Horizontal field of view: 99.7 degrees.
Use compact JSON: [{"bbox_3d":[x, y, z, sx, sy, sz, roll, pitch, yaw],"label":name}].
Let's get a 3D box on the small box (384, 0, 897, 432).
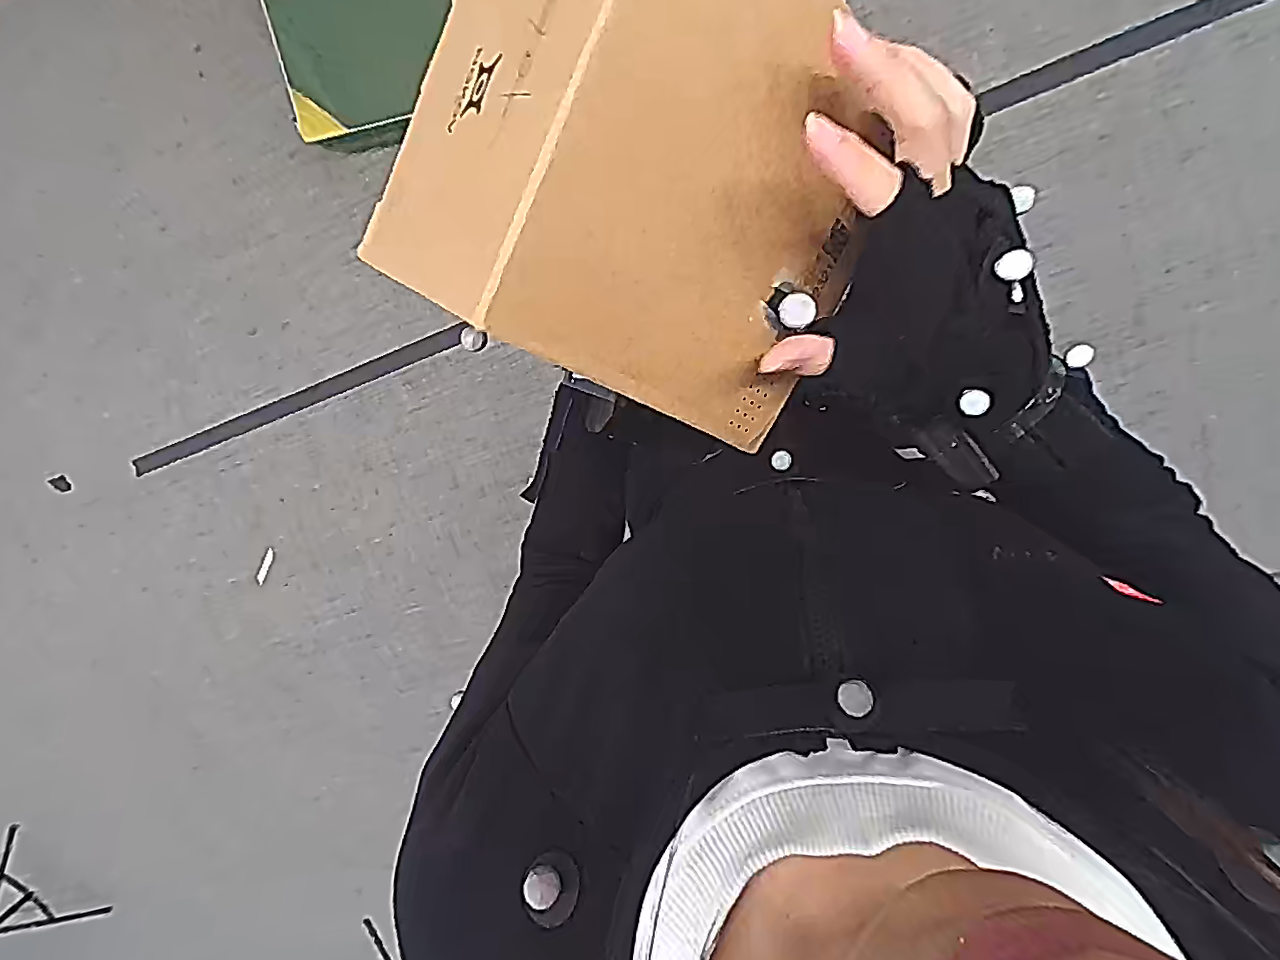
[{"bbox_3d":[-0.004,-0.142,0.291,0.176,0.179,0.168,18,102,-44],"label":"small box"}]
